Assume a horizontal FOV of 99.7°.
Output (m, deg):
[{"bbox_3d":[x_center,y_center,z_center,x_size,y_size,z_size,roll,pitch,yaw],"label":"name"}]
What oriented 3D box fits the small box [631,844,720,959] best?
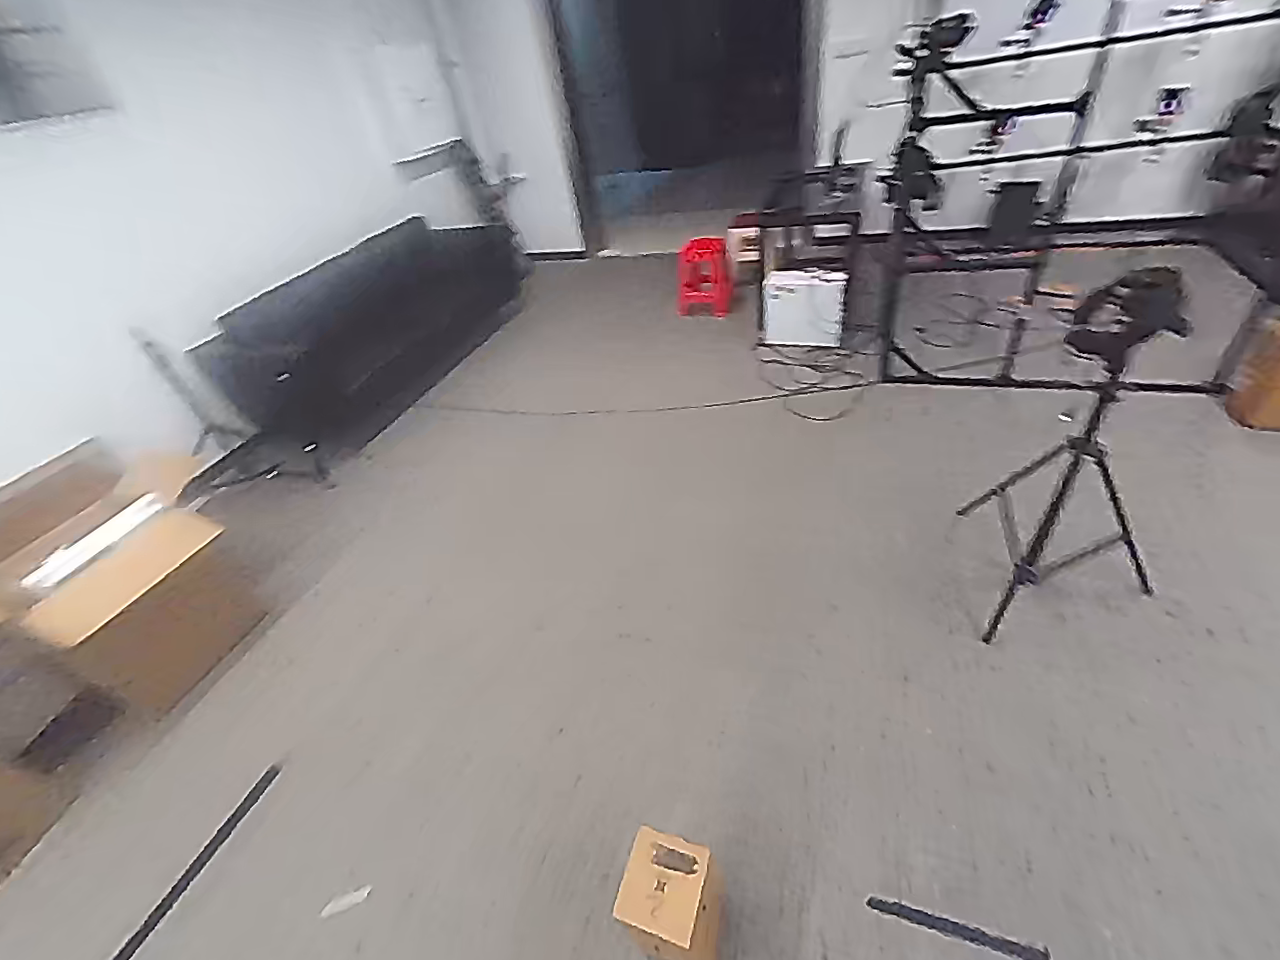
[{"bbox_3d":[0.092,1.004,1.271,0.168,0.176,0.179,4,40,20],"label":"small box"}]
